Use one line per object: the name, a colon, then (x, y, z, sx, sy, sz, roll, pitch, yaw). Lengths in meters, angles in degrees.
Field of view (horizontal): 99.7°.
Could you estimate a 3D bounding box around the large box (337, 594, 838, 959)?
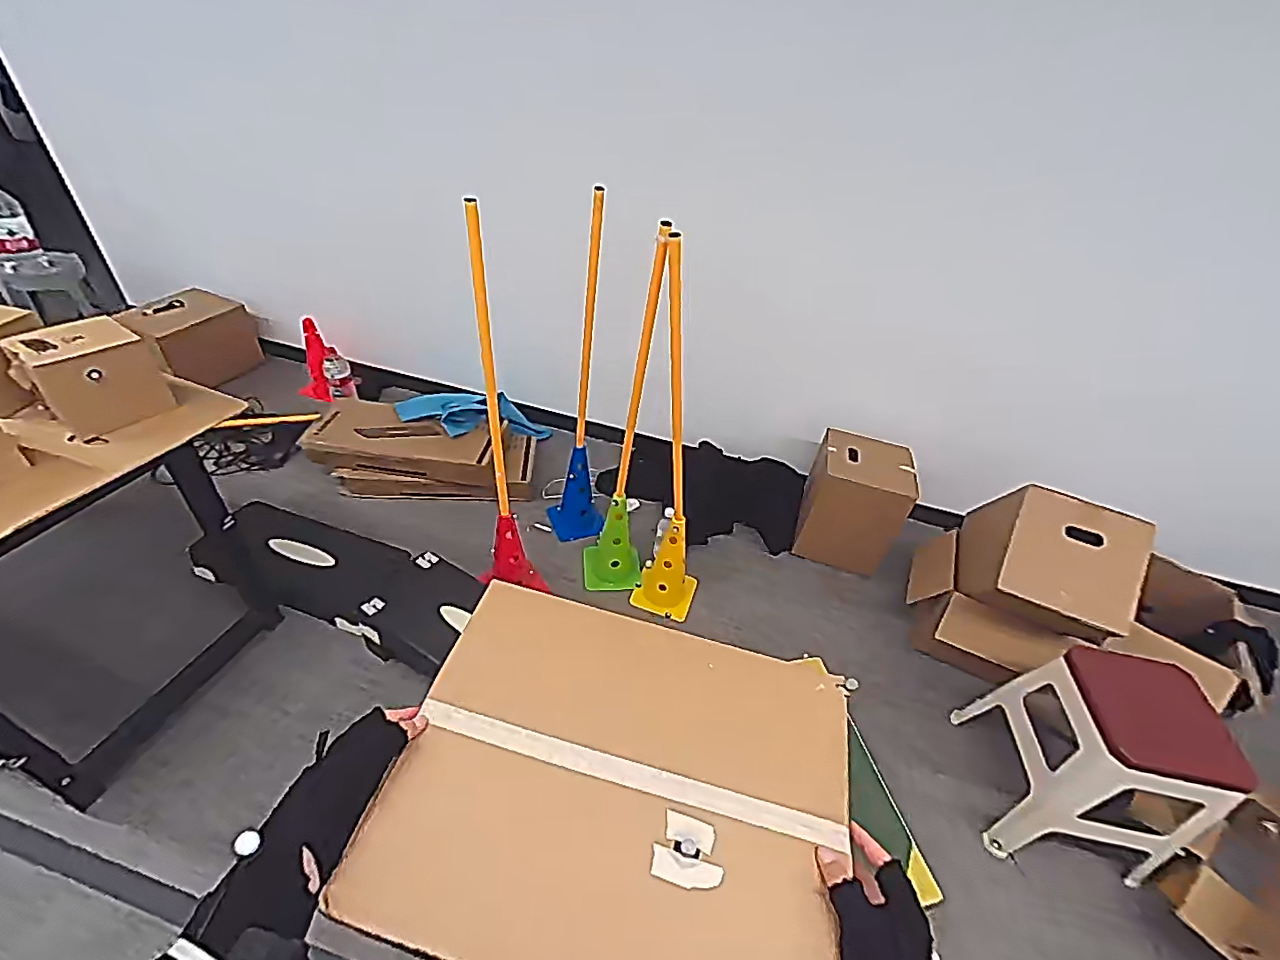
large box: (-0.030, 0.383, 0.611, 0.408, 0.320, 0.320, 14, 45, 6)
